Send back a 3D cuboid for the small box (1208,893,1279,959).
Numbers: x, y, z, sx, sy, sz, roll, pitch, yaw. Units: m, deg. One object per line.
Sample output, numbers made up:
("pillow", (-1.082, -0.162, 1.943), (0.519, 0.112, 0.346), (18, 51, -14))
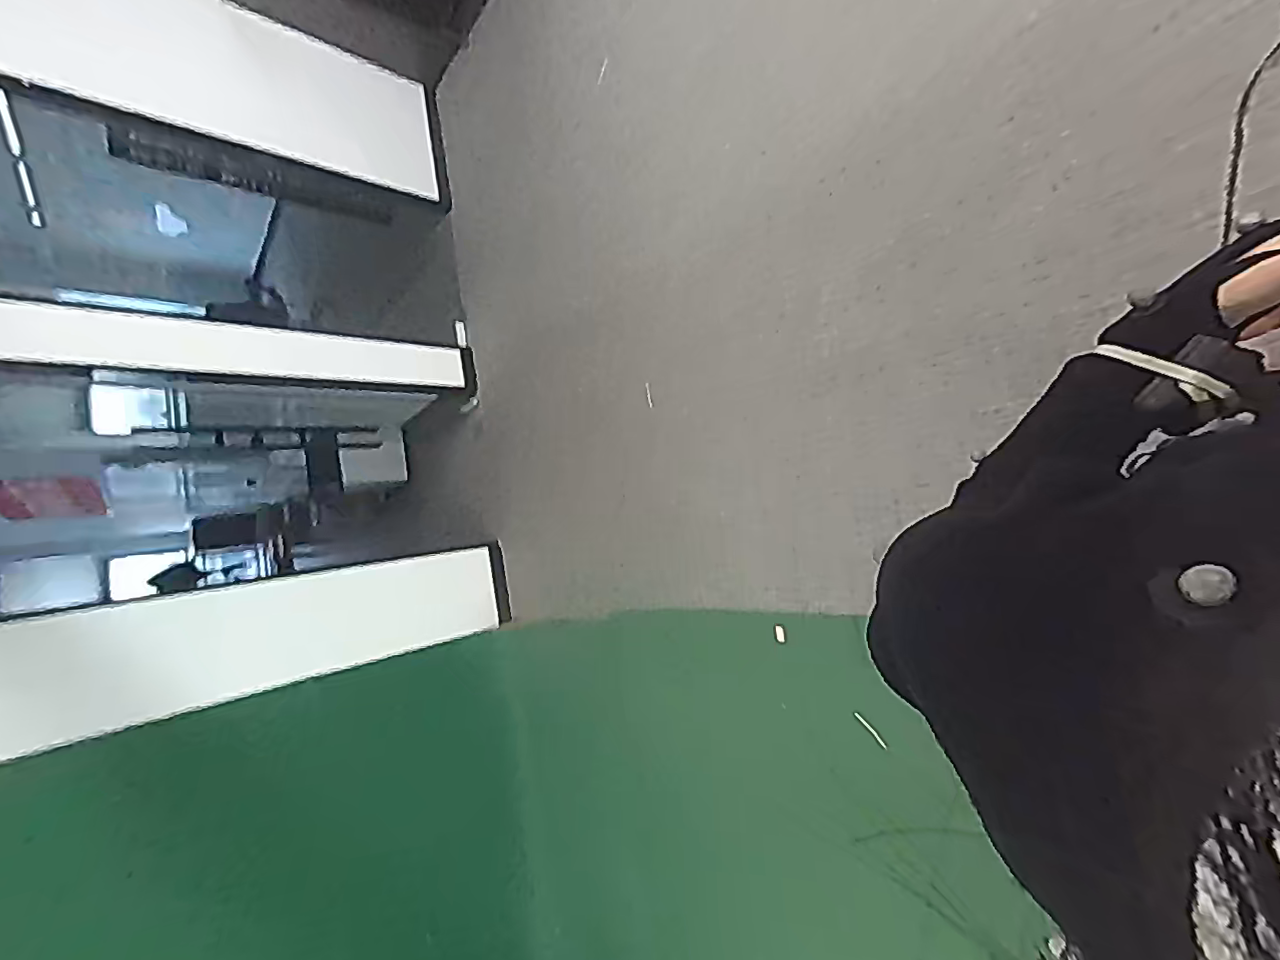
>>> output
("small box", (1.050, 0.816, 0.857), (0.168, 0.176, 0.179), (-22, 78, 46))
